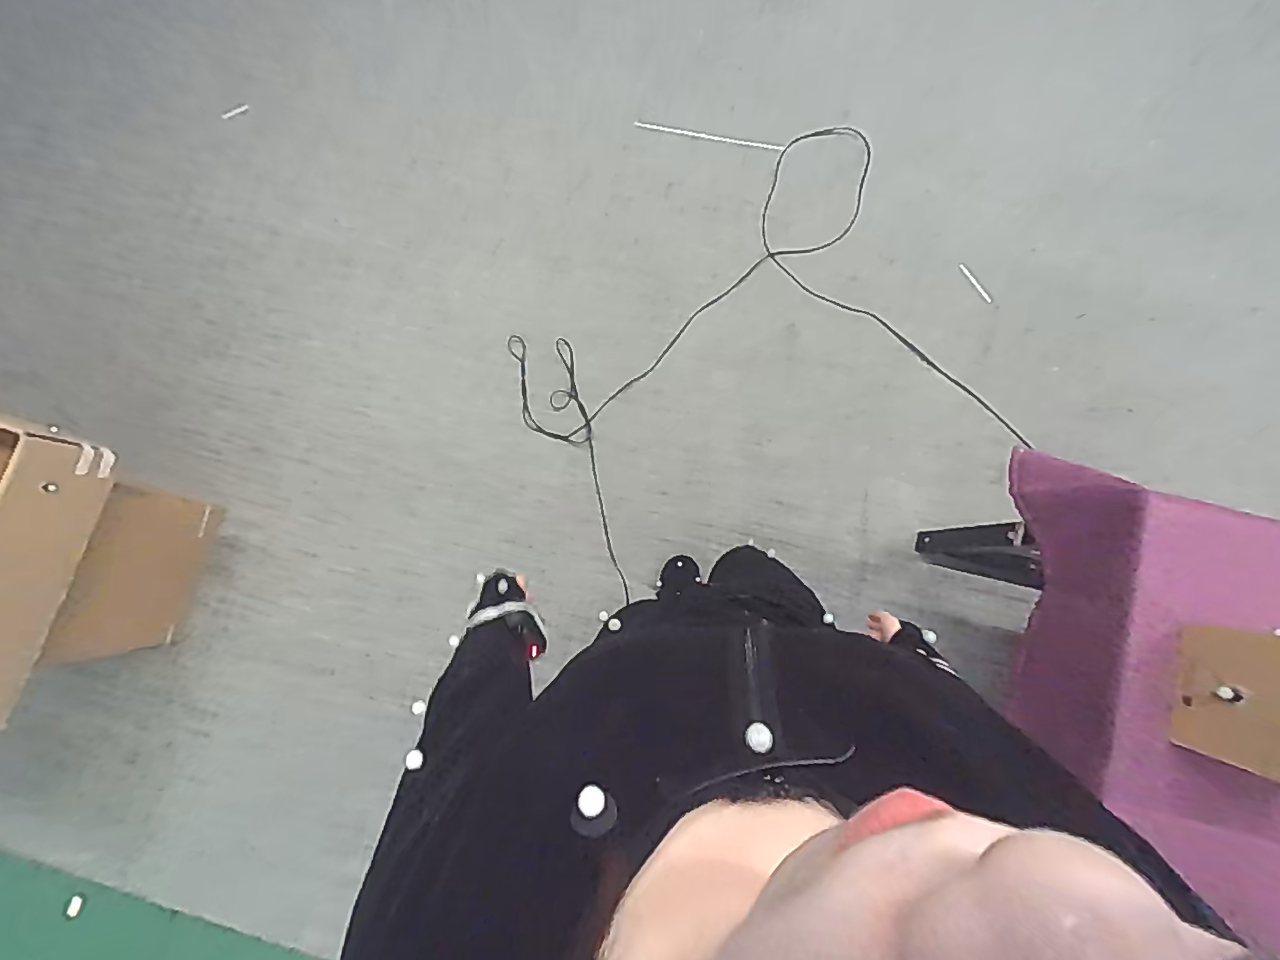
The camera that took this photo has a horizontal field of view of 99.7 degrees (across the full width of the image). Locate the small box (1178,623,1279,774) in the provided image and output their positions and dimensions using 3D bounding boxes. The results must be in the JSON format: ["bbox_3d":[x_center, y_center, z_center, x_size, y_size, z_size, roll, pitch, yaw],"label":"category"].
[{"bbox_3d":[0.812,0.276,0.646,0.179,0.176,0.168,14,84,5],"label":"small box"}]
